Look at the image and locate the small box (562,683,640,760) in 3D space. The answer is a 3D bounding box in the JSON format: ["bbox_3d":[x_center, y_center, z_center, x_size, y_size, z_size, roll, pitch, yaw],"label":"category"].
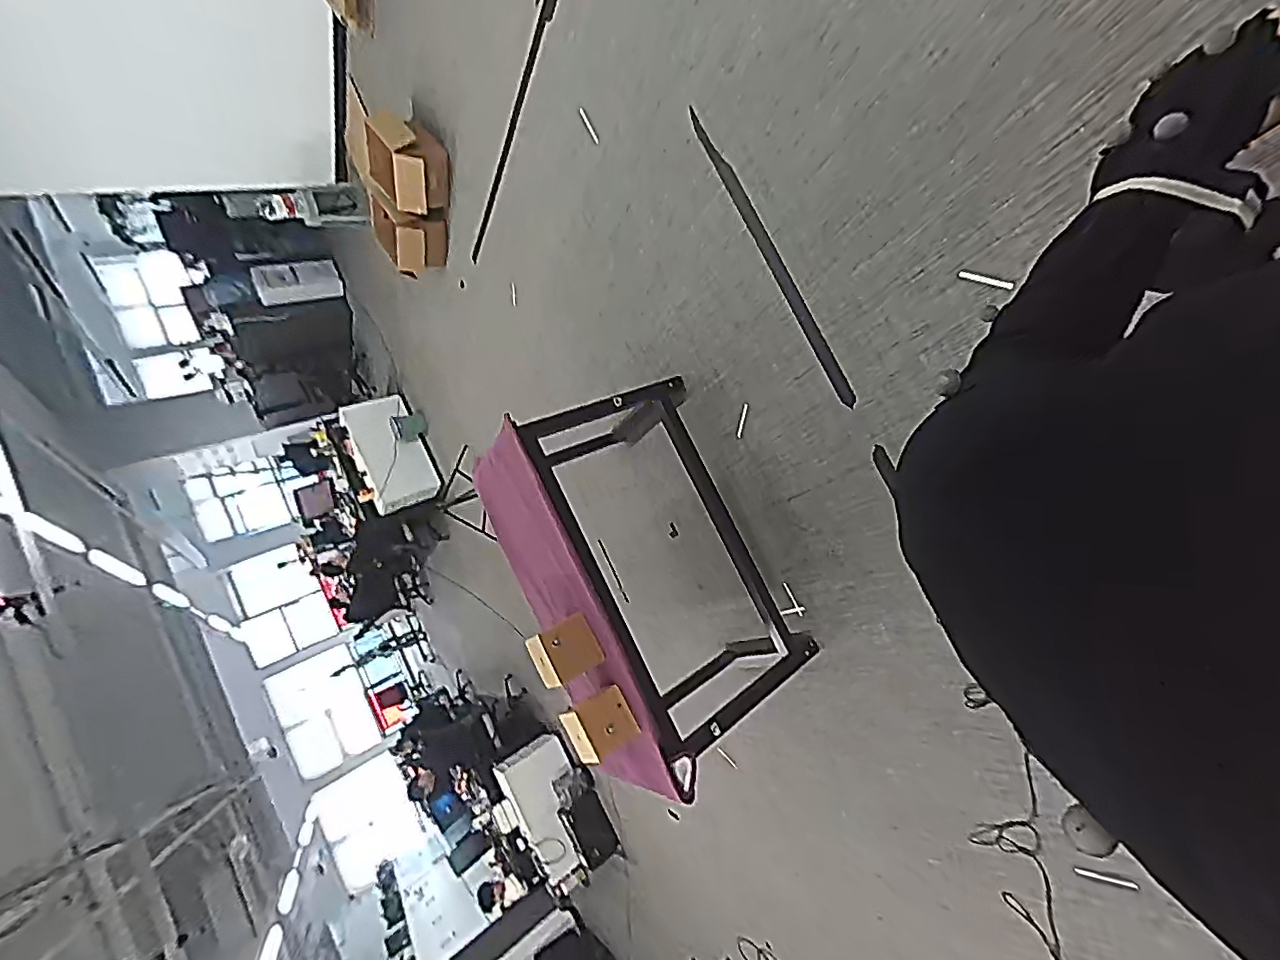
[{"bbox_3d":[-0.121,0.776,1.744,0.168,0.176,0.179,60,147,11],"label":"small box"}]

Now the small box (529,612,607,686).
[{"bbox_3d":[-0.237,0.549,1.770,0.179,0.176,0.168,62,148,9],"label":"small box"}]
